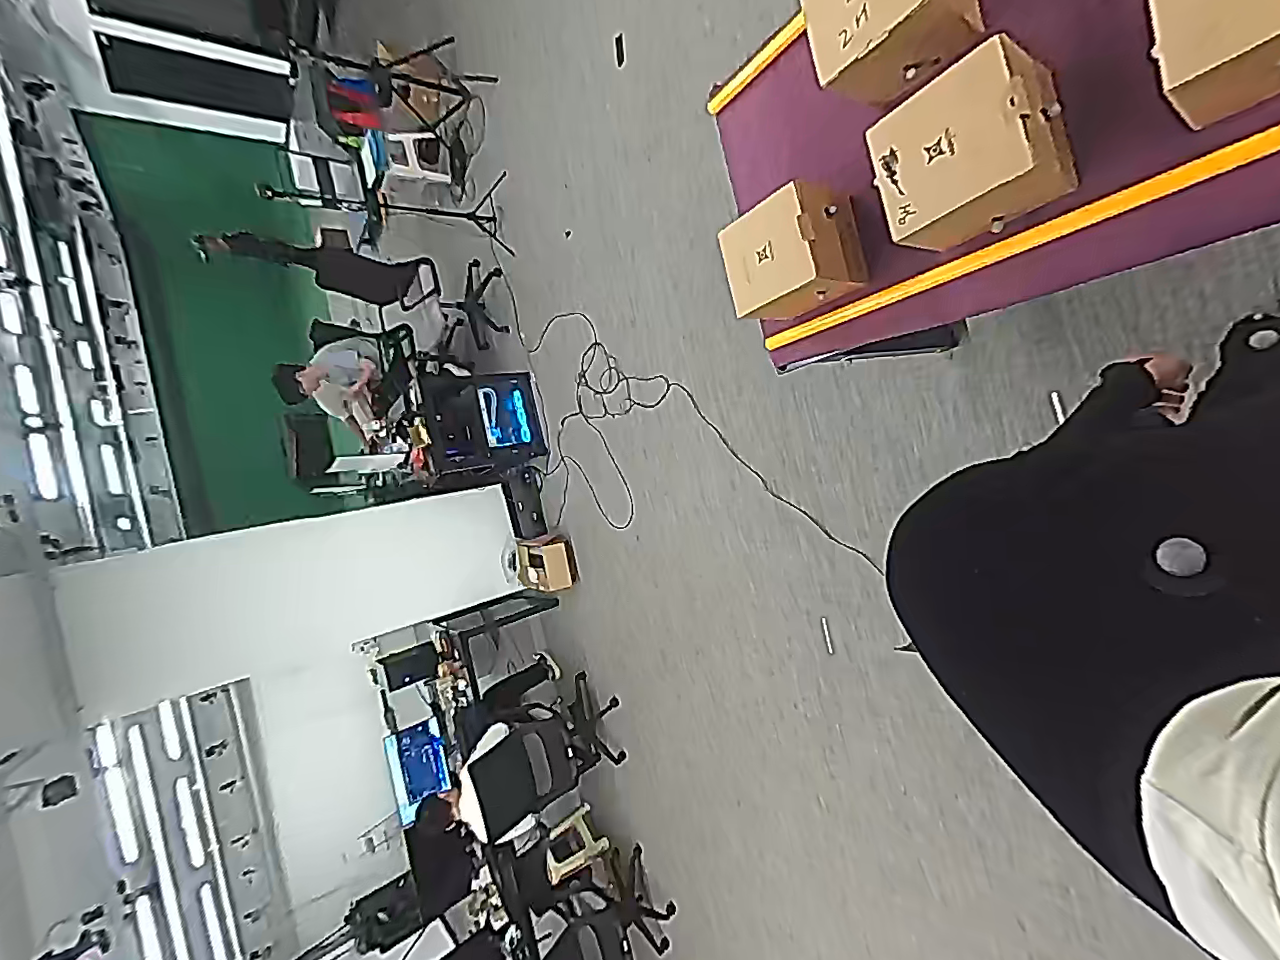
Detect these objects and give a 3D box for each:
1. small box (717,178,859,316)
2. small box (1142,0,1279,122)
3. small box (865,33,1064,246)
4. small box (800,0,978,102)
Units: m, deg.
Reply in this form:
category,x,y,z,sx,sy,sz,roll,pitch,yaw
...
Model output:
category,x,y,z,sx,sy,sz,roll,pitch,yaw
small box,0.272,-0.407,0.976,0.179,0.176,0.168,-14,89,51
small box,0.609,-0.482,0.509,0.179,0.176,0.168,-9,92,55
small box,0.446,-0.443,0.739,0.179,0.176,0.168,-15,88,53
small box,0.356,-0.695,0.782,0.168,0.176,0.179,-12,93,54
